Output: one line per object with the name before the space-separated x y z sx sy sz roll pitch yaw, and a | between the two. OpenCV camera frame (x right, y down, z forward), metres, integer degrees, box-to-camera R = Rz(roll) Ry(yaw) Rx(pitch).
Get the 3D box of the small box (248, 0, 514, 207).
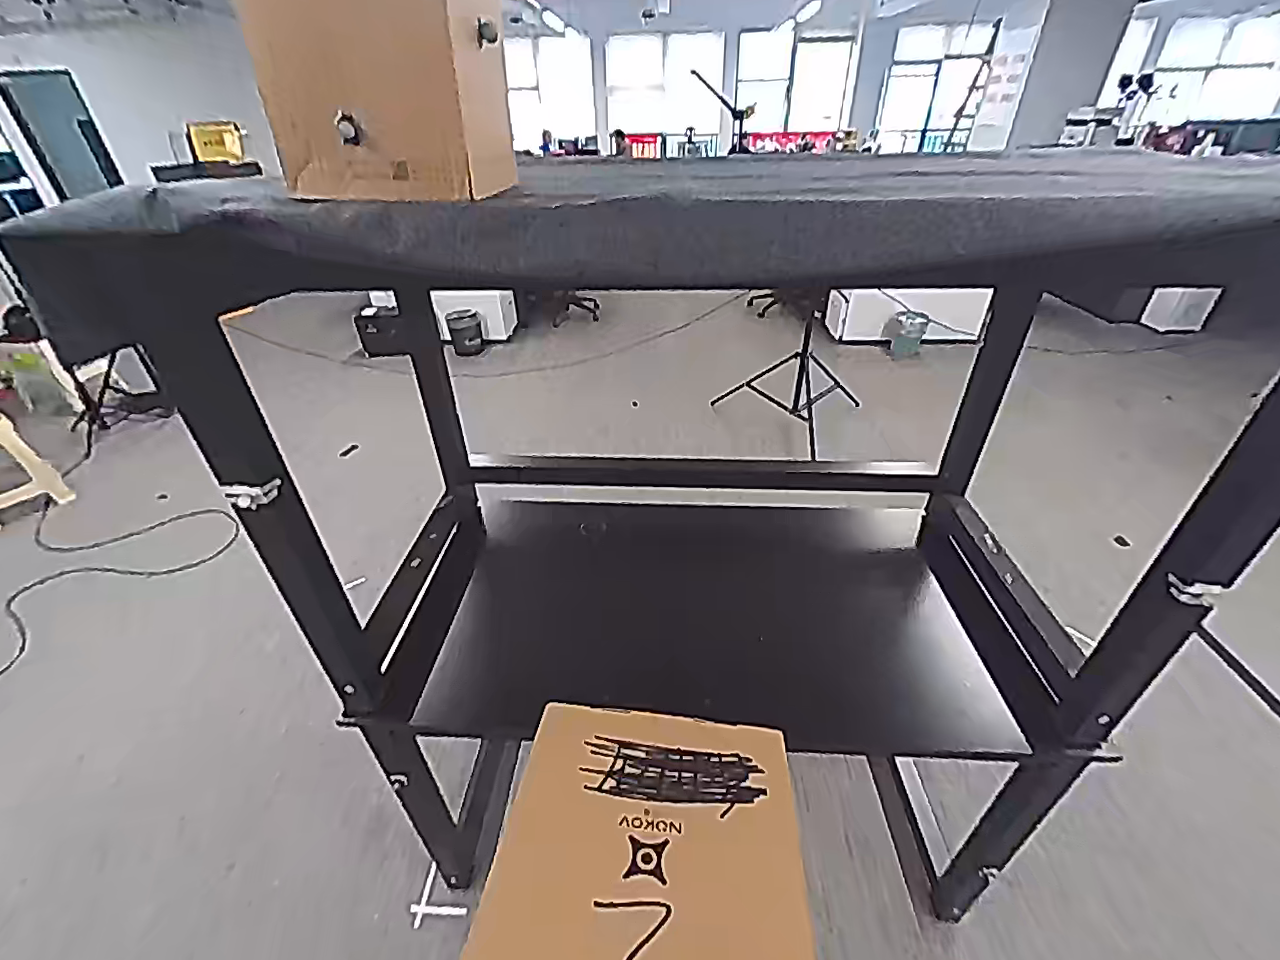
small box | -0.220 -0.360 0.505 0.168 0.176 0.179 1 33 1
